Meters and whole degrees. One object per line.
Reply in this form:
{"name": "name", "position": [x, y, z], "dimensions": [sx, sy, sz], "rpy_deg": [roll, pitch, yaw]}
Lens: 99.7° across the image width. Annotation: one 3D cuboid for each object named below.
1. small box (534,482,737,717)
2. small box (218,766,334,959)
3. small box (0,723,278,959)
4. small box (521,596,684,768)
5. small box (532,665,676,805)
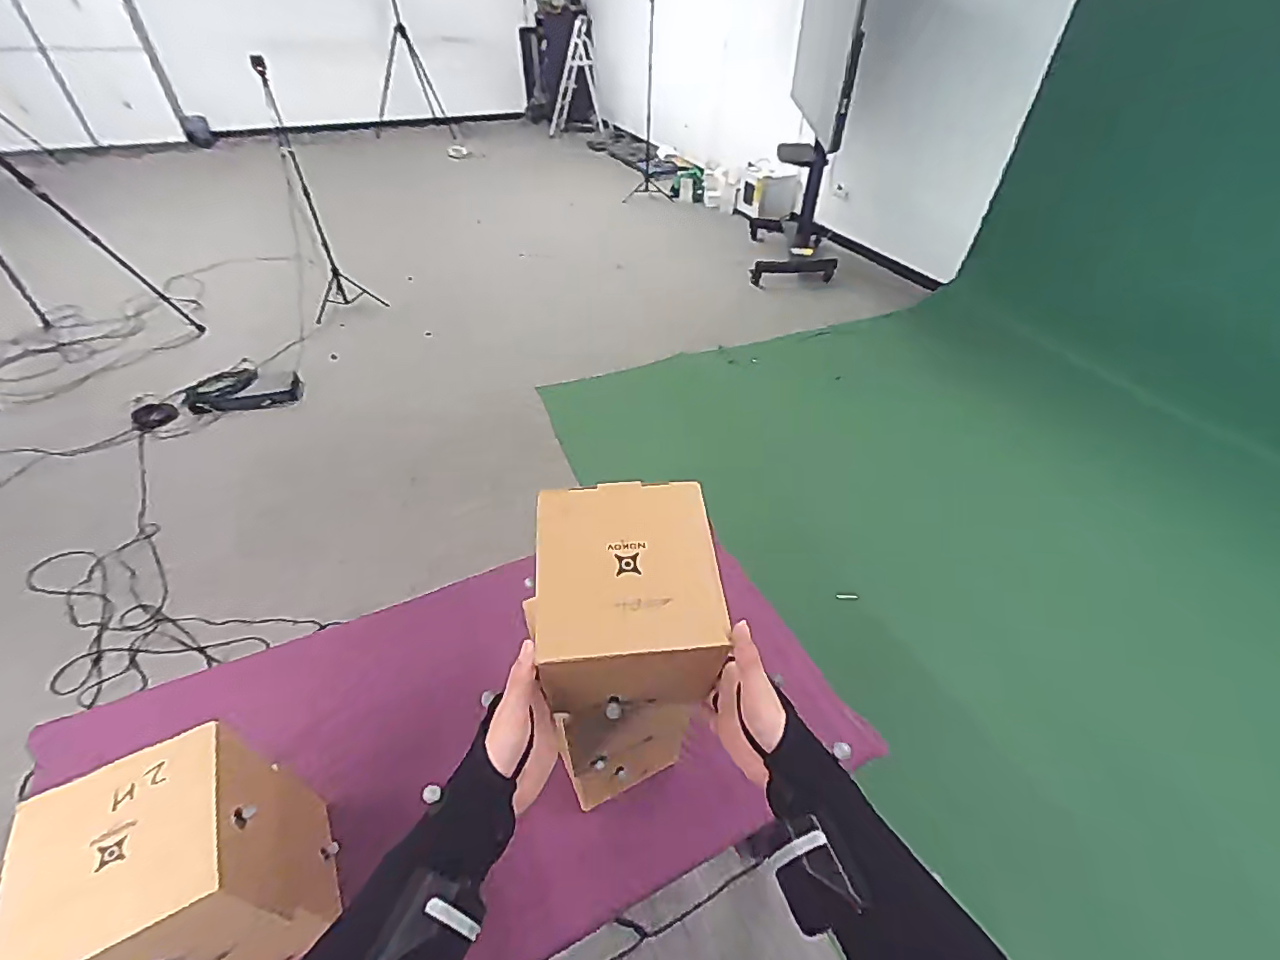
{"name": "small box", "position": [-0.014, 0.121, 0.541], "dimensions": [0.168, 0.176, 0.179], "rpy_deg": [-2, 53, -5]}
{"name": "small box", "position": [-0.501, 0.501, 0.662], "dimensions": [0.168, 0.176, 0.179], "rpy_deg": [-22, 47, -23]}
{"name": "small box", "position": [-0.487, 0.390, 0.540], "dimensions": [0.168, 0.176, 0.179], "rpy_deg": [-19, 47, -24]}
{"name": "small box", "position": [-0.046, 0.248, 0.713], "dimensions": [0.168, 0.176, 0.179], "rpy_deg": [-16, 43, -18]}
{"name": "small box", "position": [-0.052, 0.364, 0.829], "dimensions": [0.168, 0.176, 0.179], "rpy_deg": [-19, 45, -20]}
